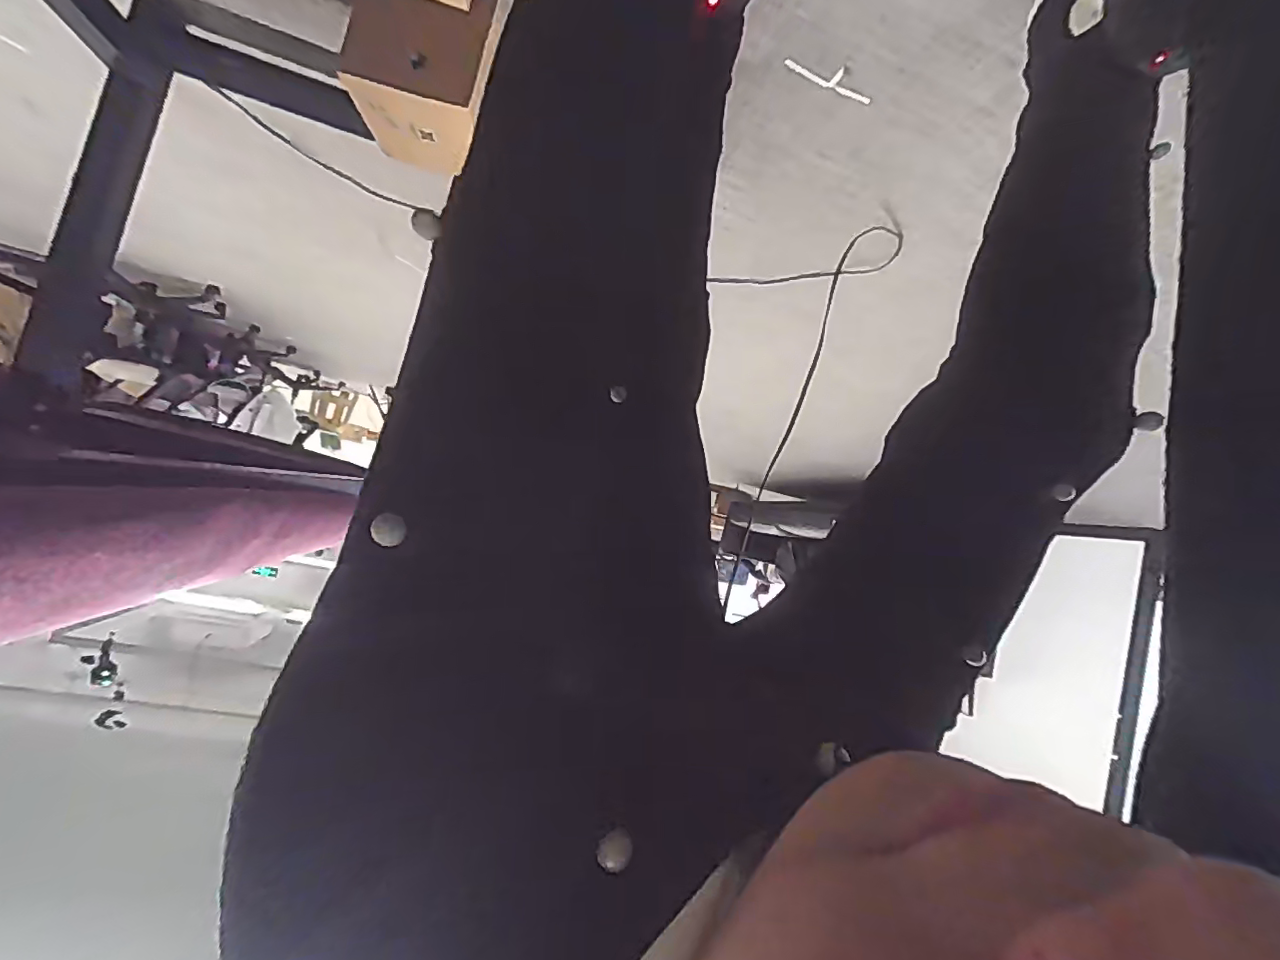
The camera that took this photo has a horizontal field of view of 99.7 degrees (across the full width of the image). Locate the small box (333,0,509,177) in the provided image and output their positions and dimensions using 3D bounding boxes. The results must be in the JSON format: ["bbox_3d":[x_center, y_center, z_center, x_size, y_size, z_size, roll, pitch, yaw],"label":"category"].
[{"bbox_3d":[-0.291,-0.574,0.762,0.179,0.176,0.168,14,175,-5],"label":"small box"}]
